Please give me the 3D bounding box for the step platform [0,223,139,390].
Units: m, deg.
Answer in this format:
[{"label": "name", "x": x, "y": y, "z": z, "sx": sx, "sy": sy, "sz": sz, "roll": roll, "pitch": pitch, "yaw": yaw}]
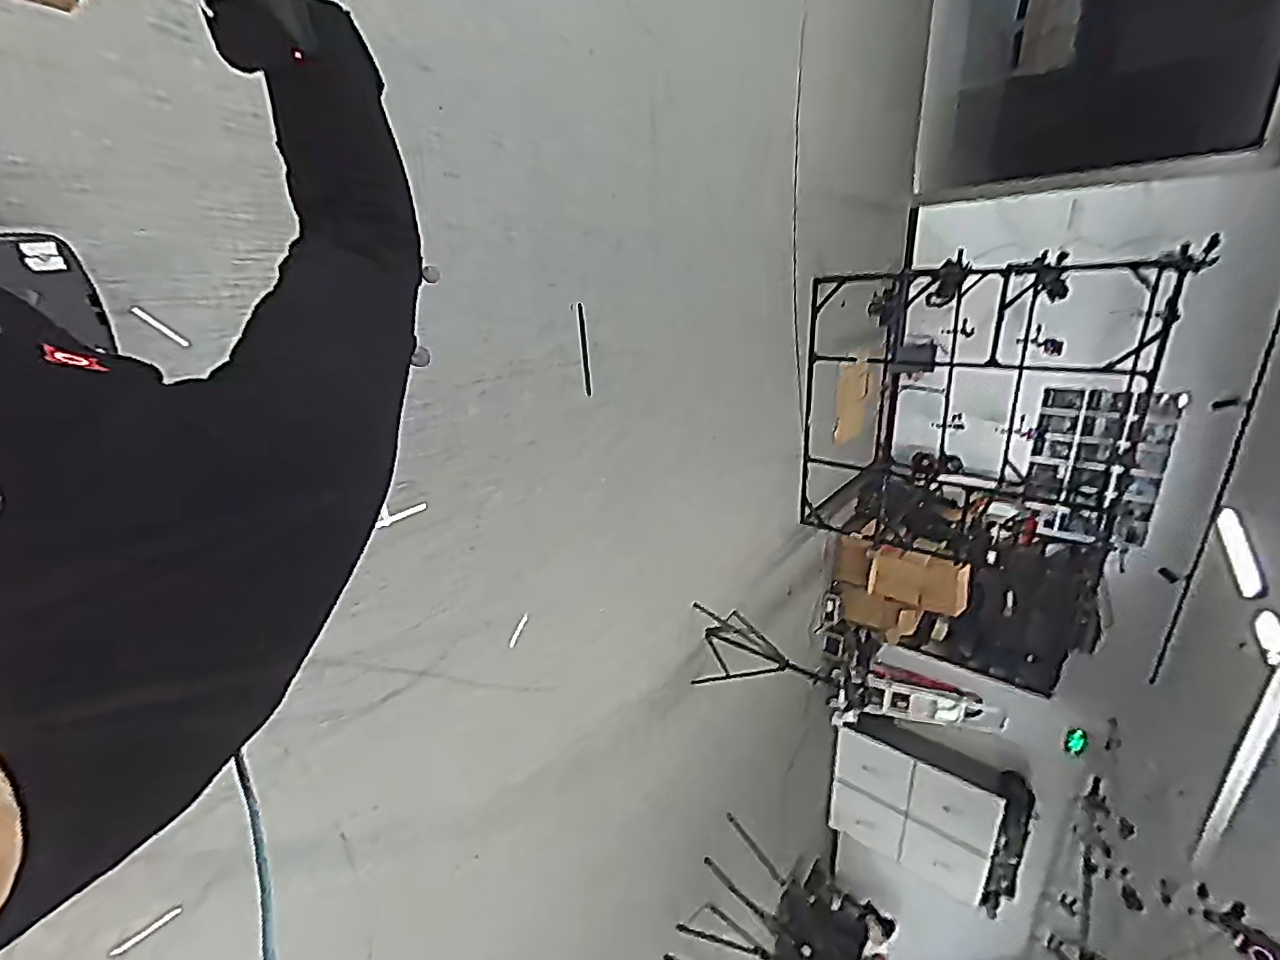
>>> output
[{"label": "step platform", "x": -1.311, "y": -0.271, "z": 0.905, "sx": 0.684, "sy": 0.204, "sz": 0.286, "roll": -29, "pitch": 123, "yaw": -45}]
